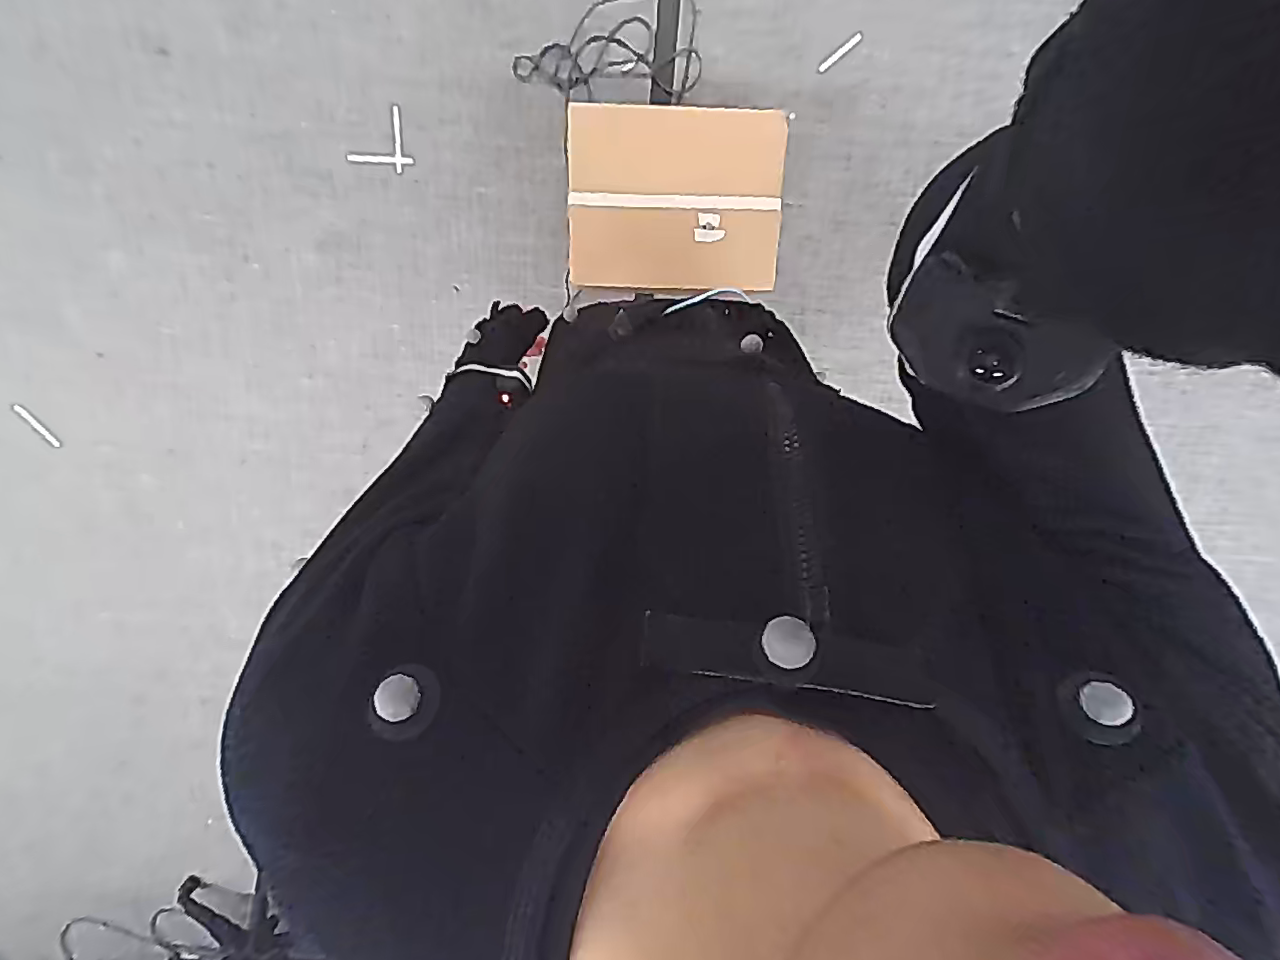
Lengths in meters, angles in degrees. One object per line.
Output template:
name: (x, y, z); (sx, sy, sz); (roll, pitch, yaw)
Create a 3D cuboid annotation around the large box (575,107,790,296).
large box: (0.072, -0.573, 1.179); (0.408, 0.320, 0.320); (2, 108, -2)
